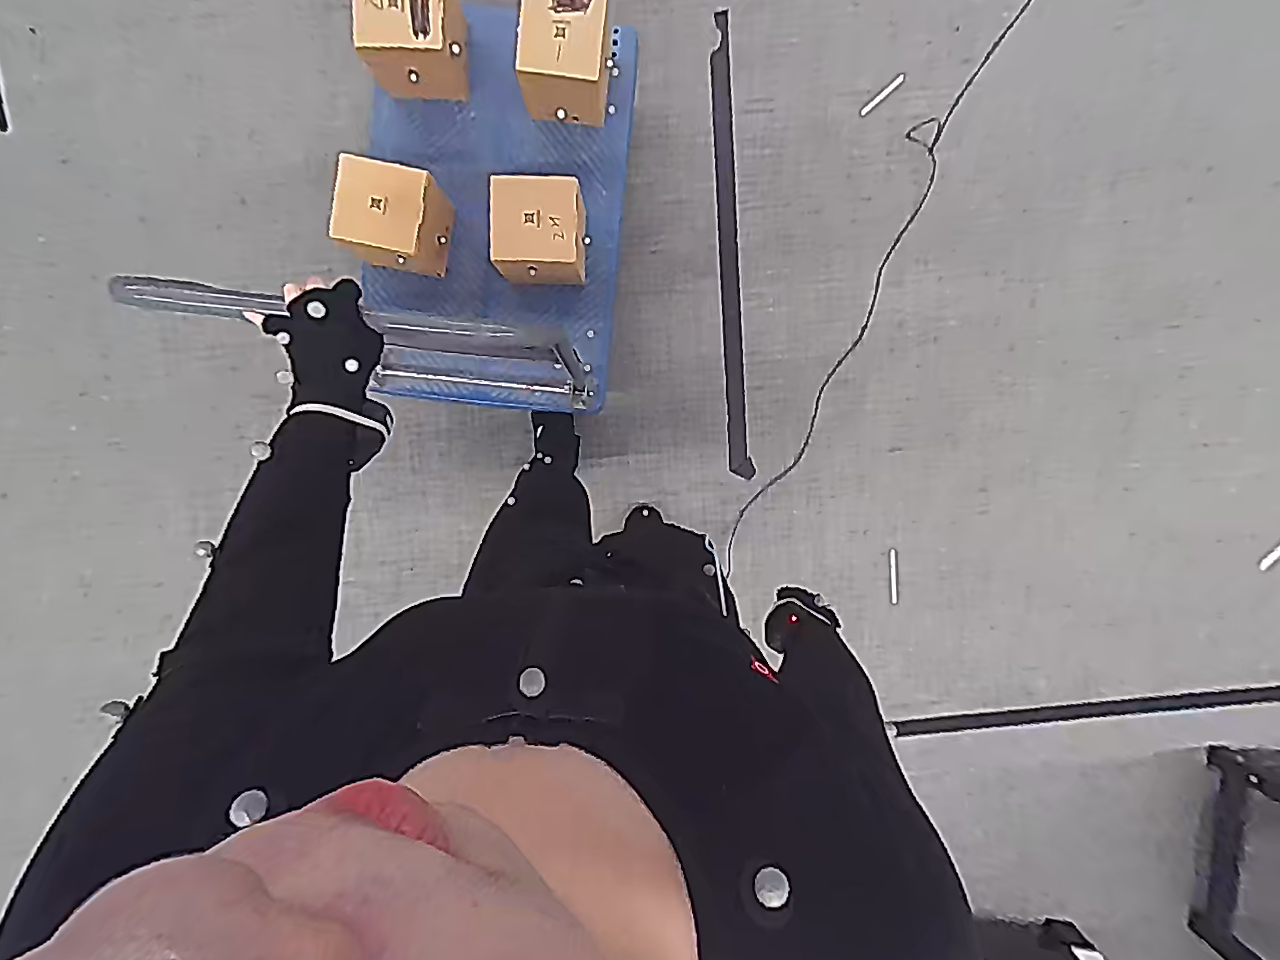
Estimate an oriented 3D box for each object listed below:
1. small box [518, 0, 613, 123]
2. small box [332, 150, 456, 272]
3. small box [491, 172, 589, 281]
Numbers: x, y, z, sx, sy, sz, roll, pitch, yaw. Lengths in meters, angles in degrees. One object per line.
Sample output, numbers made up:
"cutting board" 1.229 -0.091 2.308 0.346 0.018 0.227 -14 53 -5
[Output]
"small box" -0.147 -0.886 1.120 0.168 0.176 0.179 7 96 -1
"small box" -0.513 -0.558 1.147 0.179 0.176 0.168 10 95 -3
"small box" -0.207 -0.531 1.151 0.179 0.176 0.168 1 95 0
